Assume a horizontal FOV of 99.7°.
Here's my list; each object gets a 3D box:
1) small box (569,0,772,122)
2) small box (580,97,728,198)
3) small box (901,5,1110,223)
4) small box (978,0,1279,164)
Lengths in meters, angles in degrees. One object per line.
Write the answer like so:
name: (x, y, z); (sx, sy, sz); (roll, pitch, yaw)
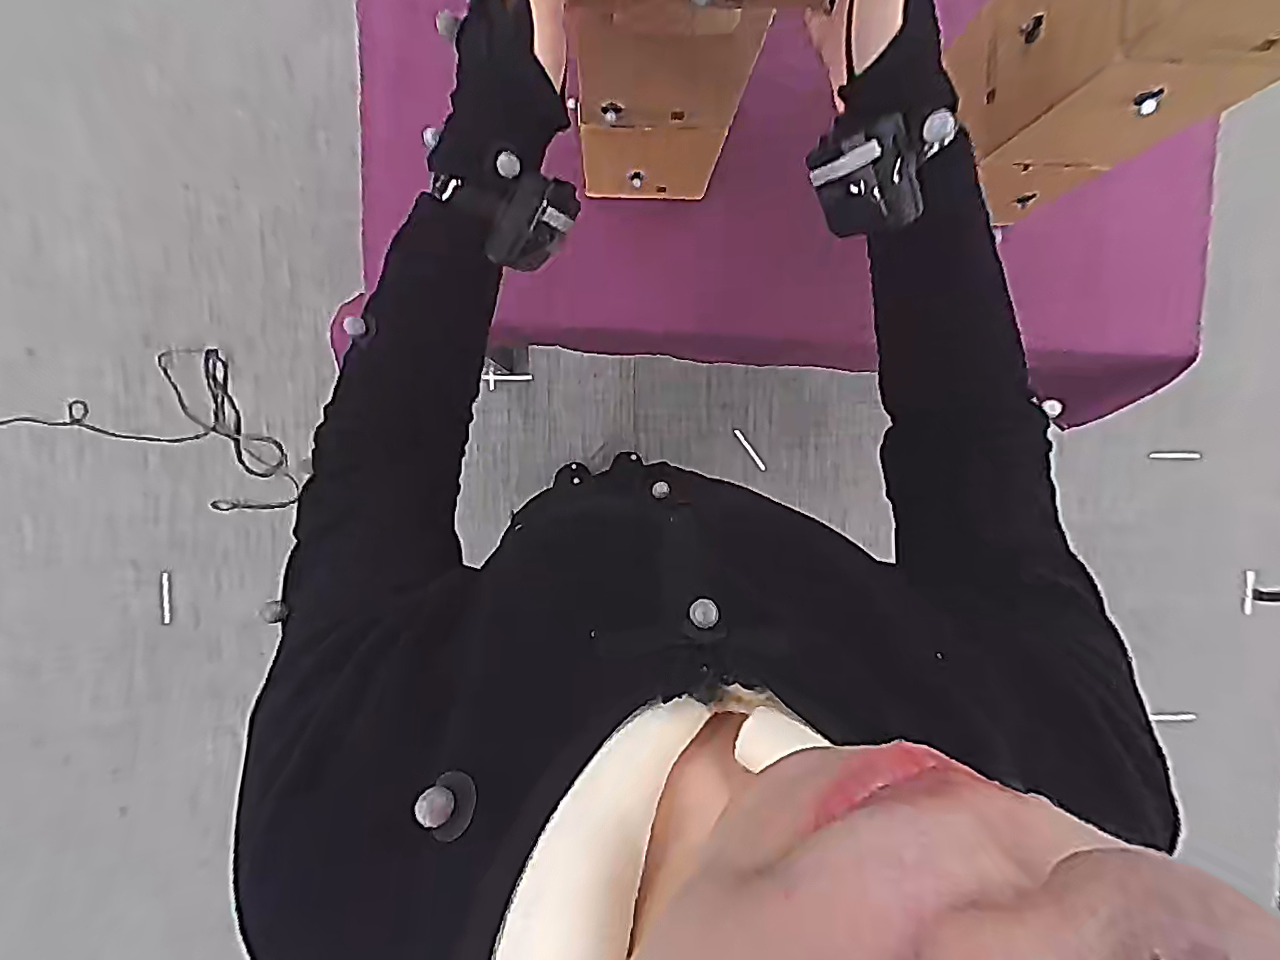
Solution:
small box: (0.020, -0.466, 0.501); (0.168, 0.176, 0.179); (-2, 94, -4)
small box: (0.010, -0.476, 0.665); (0.168, 0.176, 0.179); (-1, 95, -4)
small box: (0.457, -0.449, 0.694); (0.168, 0.176, 0.179); (0, 93, -4)
small box: (0.467, -0.435, 0.530); (0.179, 0.176, 0.168); (-1, 95, -4)
